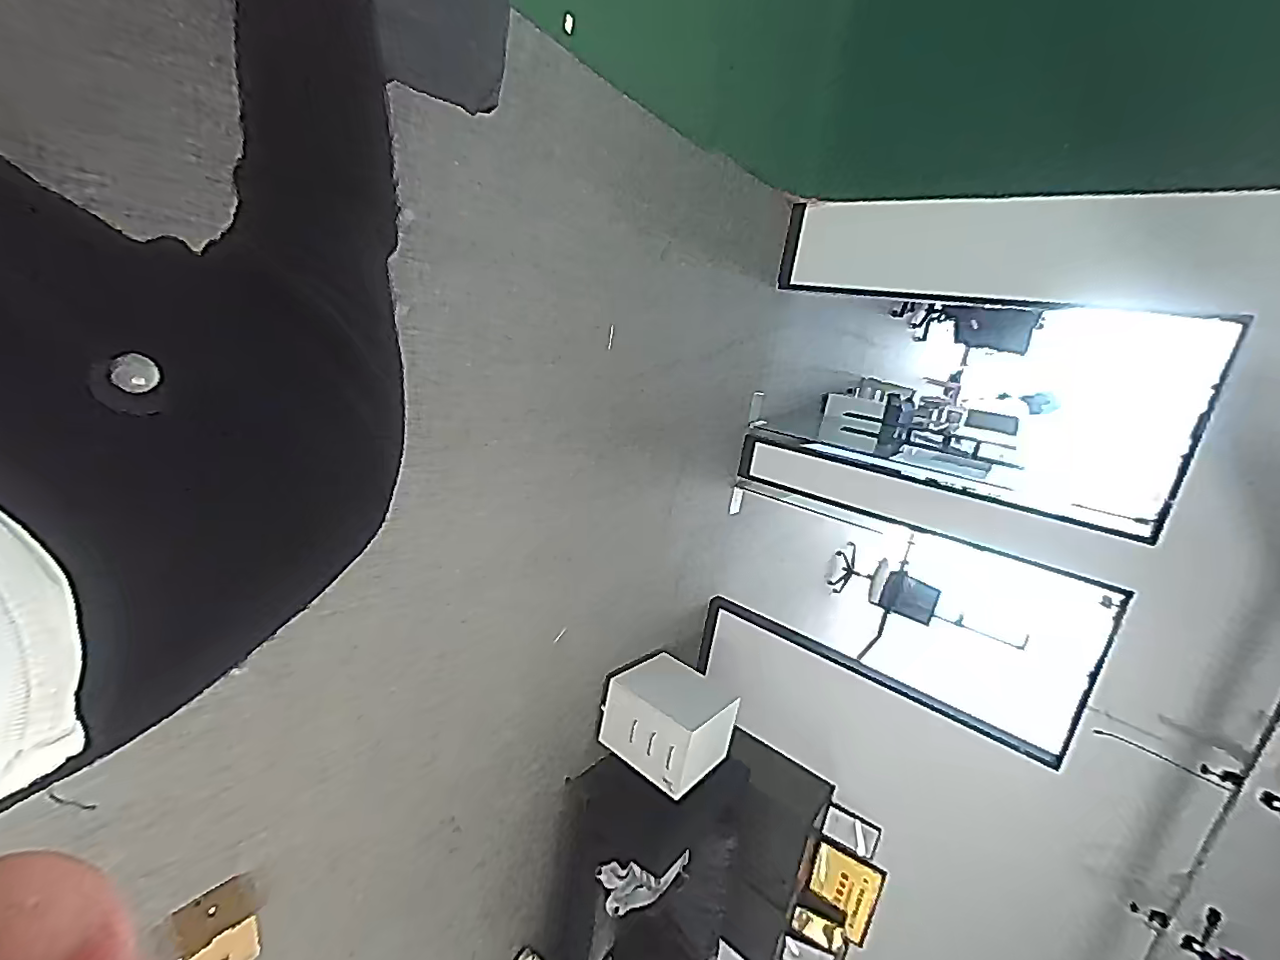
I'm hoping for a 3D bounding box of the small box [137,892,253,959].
[{"bbox_3d":[-1.288,1.347,1.566,0.179,0.176,0.168,-47,141,-32],"label":"small box"}]
